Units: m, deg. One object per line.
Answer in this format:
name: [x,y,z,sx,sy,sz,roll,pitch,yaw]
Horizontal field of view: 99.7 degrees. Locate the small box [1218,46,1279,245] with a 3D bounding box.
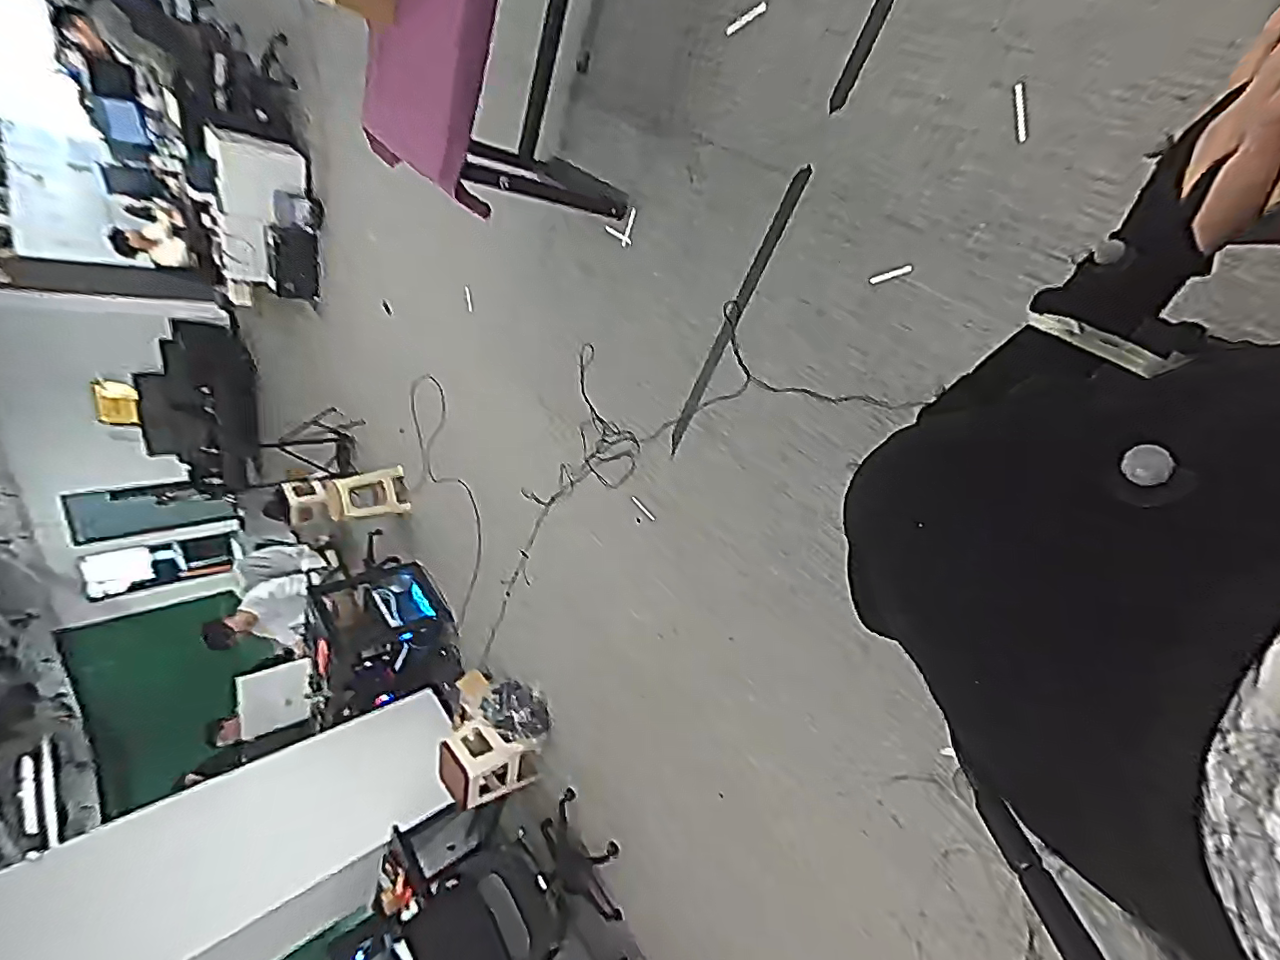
small box: [0.442,-0.221,0.266,0.168,0.176,0.179,18,112,34]
